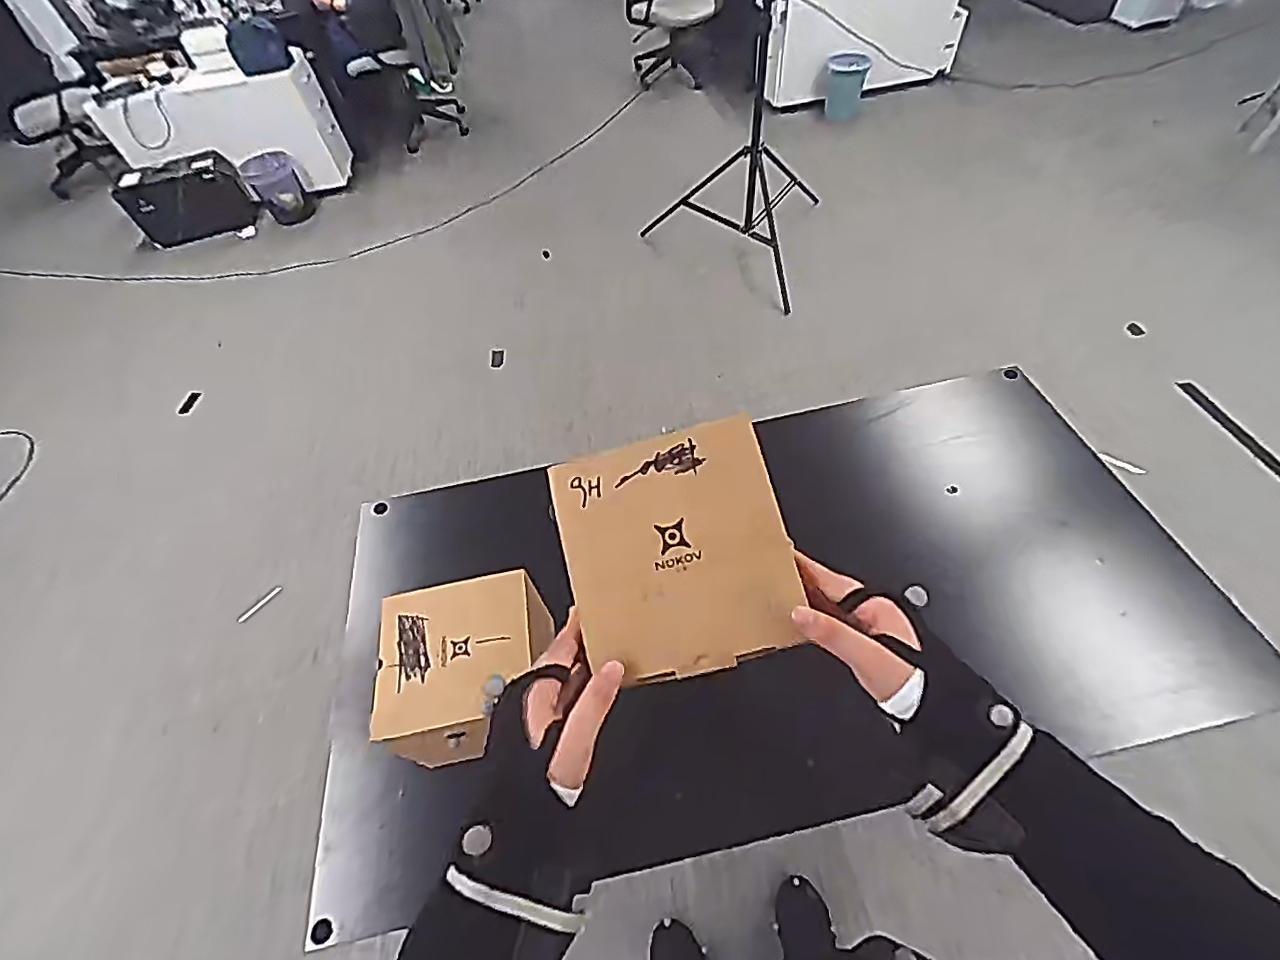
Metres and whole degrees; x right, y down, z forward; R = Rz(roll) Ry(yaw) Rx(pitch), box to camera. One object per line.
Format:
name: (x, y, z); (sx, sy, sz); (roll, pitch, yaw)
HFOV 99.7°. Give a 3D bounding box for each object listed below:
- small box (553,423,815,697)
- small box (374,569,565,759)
small box: (0.039, 0.068, 0.483); (0.168, 0.176, 0.179); (-15, 80, 5)
small box: (-0.202, 0.236, 0.680); (0.179, 0.176, 0.168); (-11, 55, -3)
